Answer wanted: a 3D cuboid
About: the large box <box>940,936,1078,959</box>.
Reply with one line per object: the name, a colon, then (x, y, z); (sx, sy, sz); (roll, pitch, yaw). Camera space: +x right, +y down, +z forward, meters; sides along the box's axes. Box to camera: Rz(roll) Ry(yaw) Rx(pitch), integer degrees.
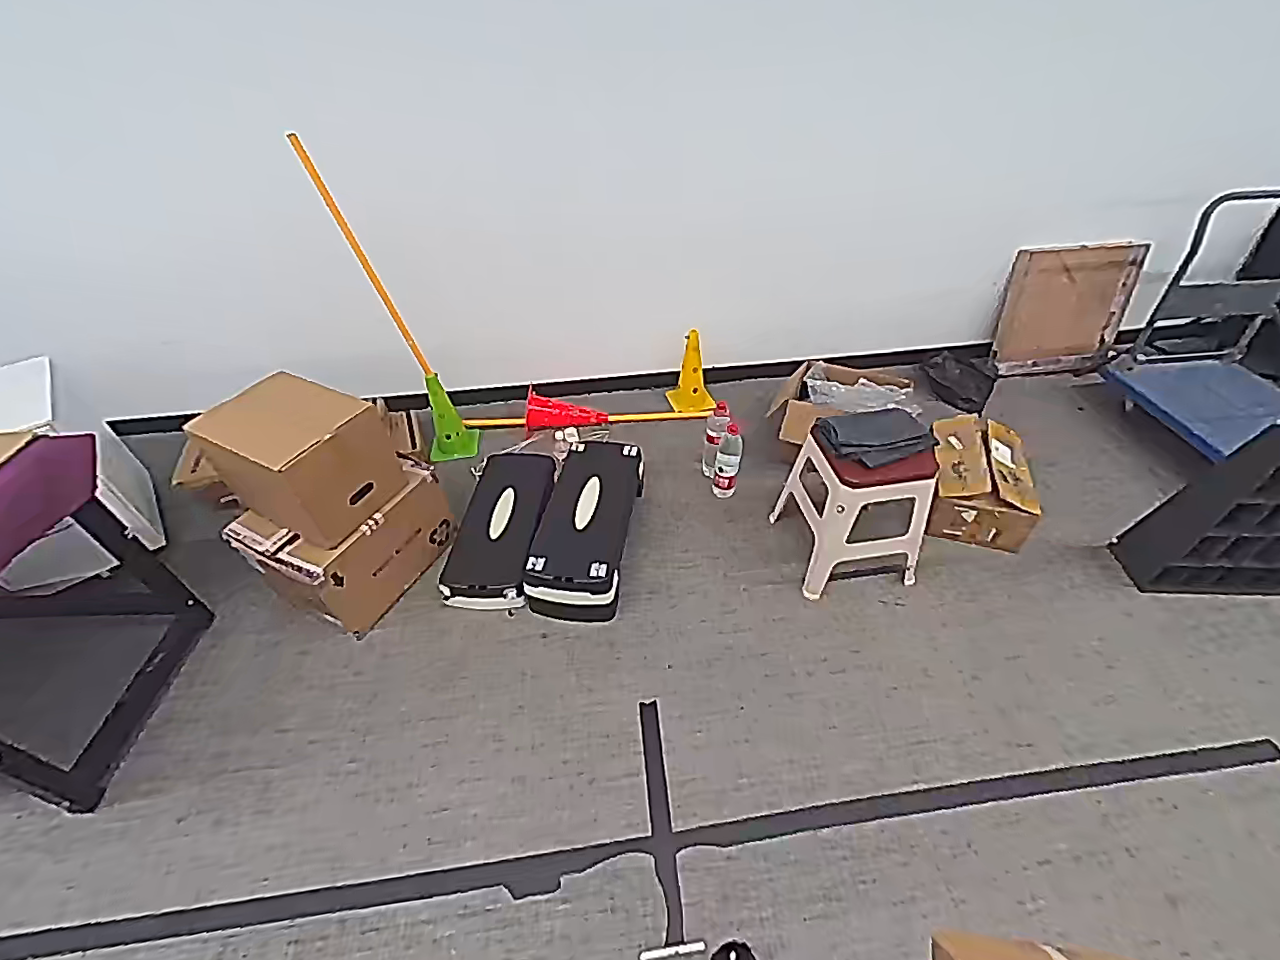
large box: (0.557, 0.773, 0.549); (0.320, 0.408, 0.320); (6, 73, 4)
